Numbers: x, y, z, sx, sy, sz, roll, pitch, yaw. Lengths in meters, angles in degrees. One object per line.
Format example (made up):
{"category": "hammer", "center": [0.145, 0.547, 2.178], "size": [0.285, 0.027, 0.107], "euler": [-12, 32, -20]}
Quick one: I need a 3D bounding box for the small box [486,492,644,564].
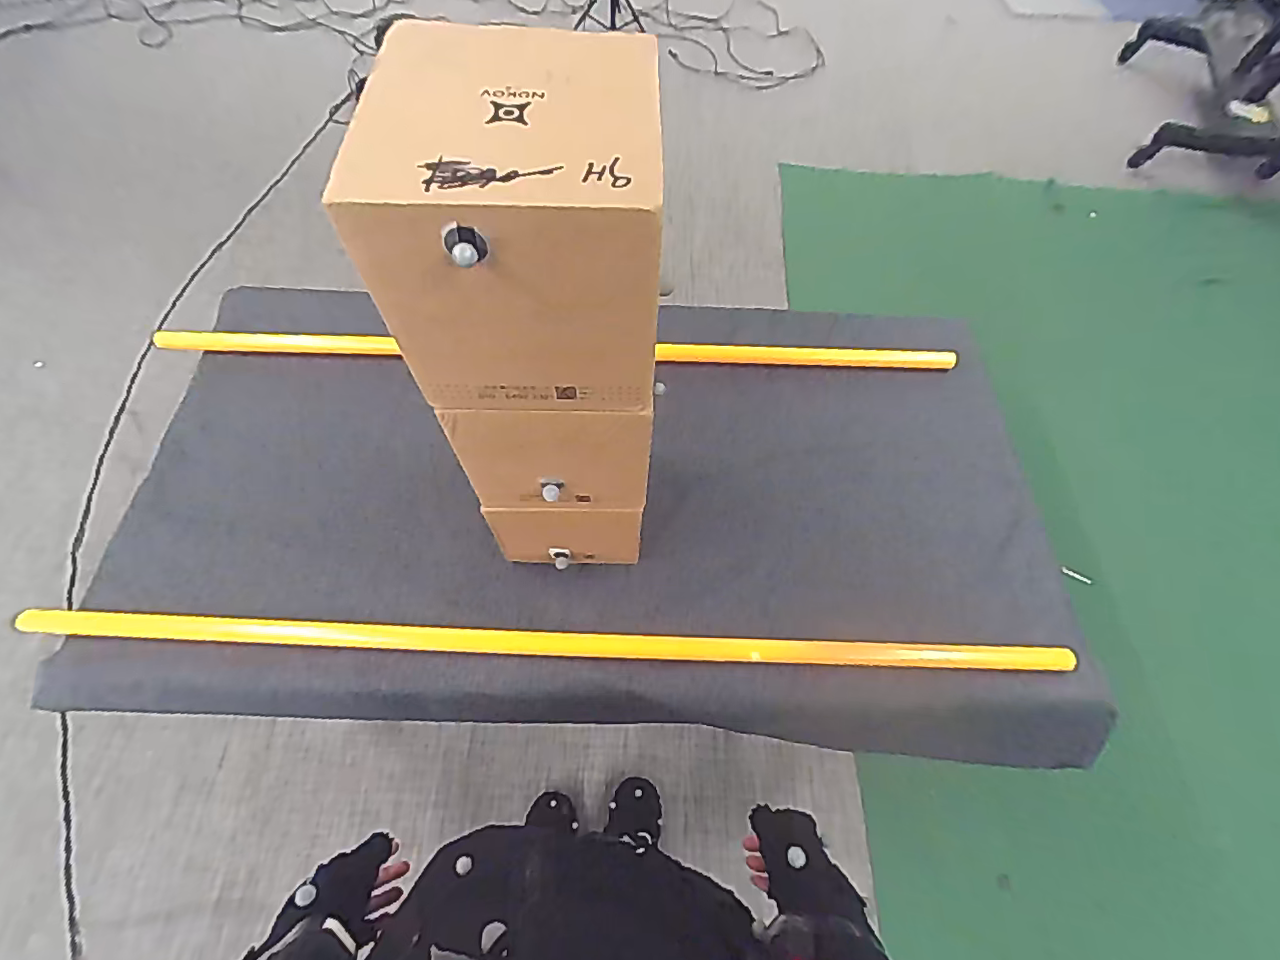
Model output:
{"category": "small box", "center": [-0.081, -0.007, 0.666], "size": [0.168, 0.176, 0.179], "euler": [-1, 63, -1]}

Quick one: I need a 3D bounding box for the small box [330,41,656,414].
{"category": "small box", "center": [-0.075, -0.167, 0.379], "size": [0.168, 0.176, 0.179], "euler": [0, 61, 0]}

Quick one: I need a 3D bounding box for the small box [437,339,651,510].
{"category": "small box", "center": [-0.075, -0.087, 0.522], "size": [0.168, 0.176, 0.179], "euler": [1, 62, -1]}
